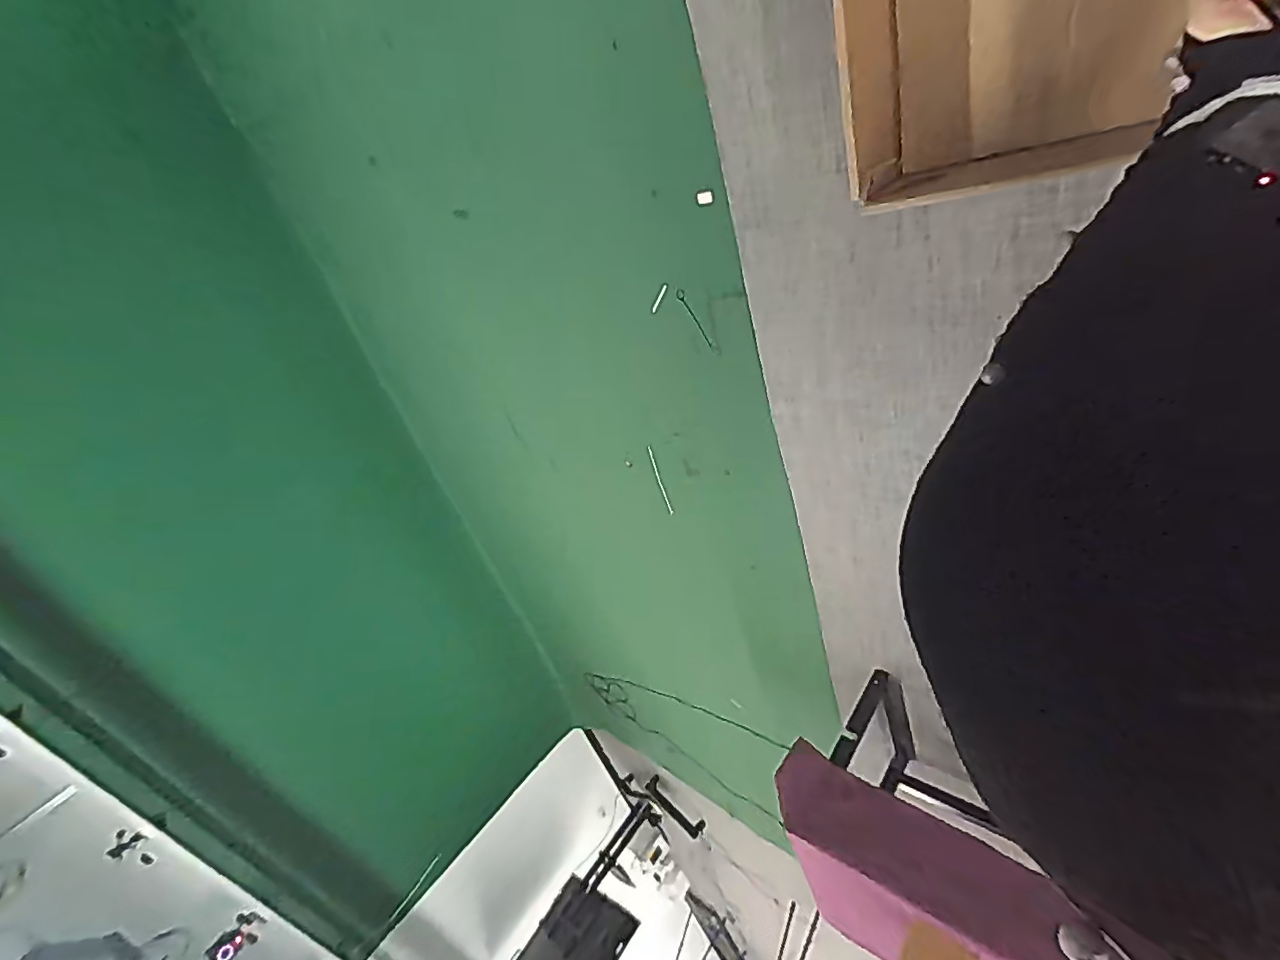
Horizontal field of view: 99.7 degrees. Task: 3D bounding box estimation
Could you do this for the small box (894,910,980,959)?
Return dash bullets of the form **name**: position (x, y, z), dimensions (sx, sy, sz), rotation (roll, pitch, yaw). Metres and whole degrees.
- **small box**: position (0.804, 1.331, 1.464), dimensions (0.179, 0.176, 0.168), rotation (11, 132, 45)
